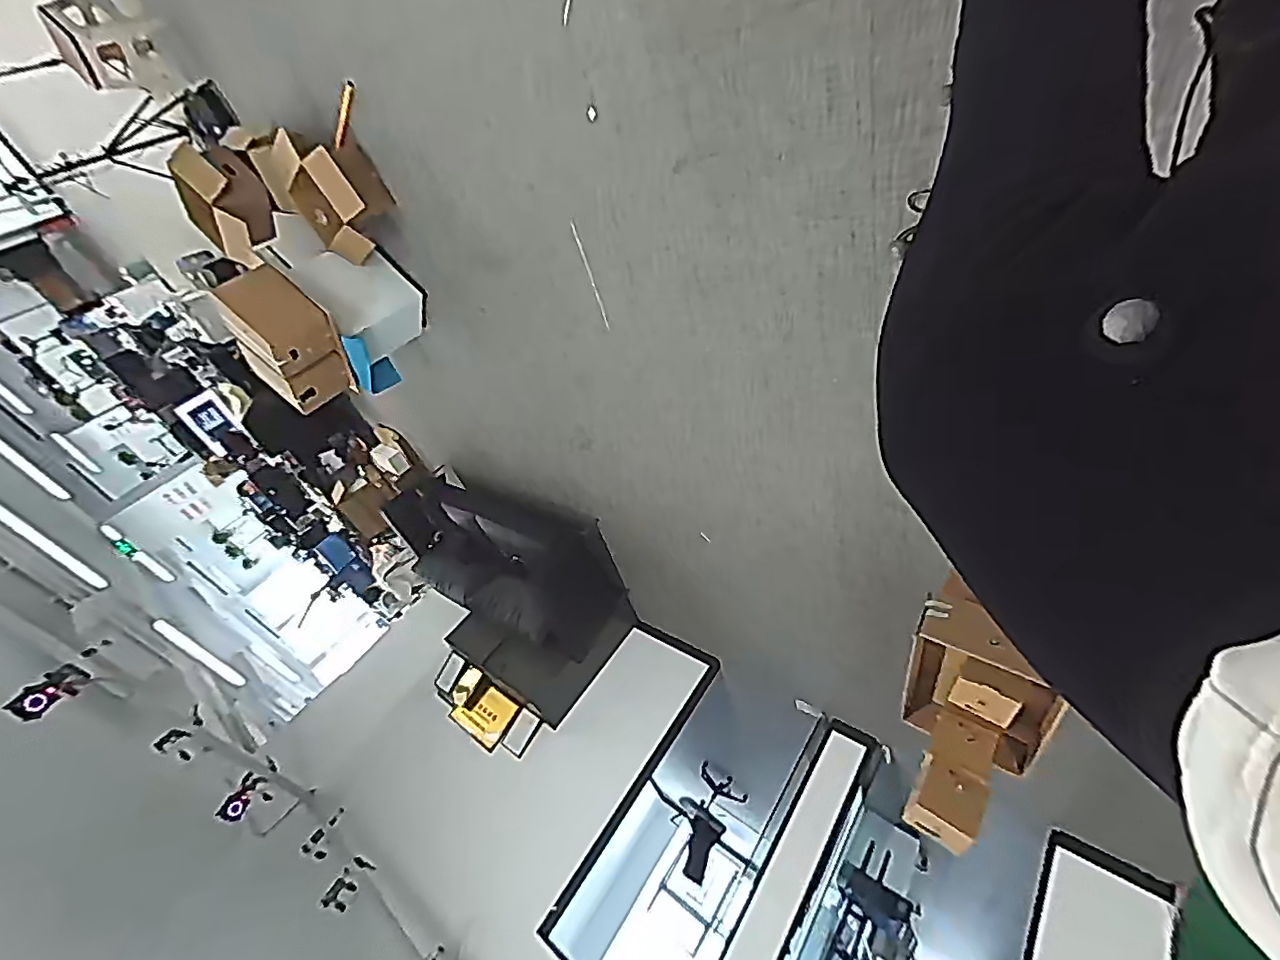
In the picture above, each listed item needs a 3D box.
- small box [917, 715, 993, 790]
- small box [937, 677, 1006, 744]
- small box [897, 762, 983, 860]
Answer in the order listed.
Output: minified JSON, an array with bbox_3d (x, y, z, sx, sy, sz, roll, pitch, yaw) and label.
[{"bbox_3d":[1.009,0.899,1.733,0.168,0.176,0.179,18,139,37],"label":"small box"},{"bbox_3d":[1.107,0.803,1.819,0.168,0.176,0.179,18,139,36],"label":"small box"},{"bbox_3d":[0.914,1.003,1.647,0.168,0.176,0.179,25,142,29],"label":"small box"}]
